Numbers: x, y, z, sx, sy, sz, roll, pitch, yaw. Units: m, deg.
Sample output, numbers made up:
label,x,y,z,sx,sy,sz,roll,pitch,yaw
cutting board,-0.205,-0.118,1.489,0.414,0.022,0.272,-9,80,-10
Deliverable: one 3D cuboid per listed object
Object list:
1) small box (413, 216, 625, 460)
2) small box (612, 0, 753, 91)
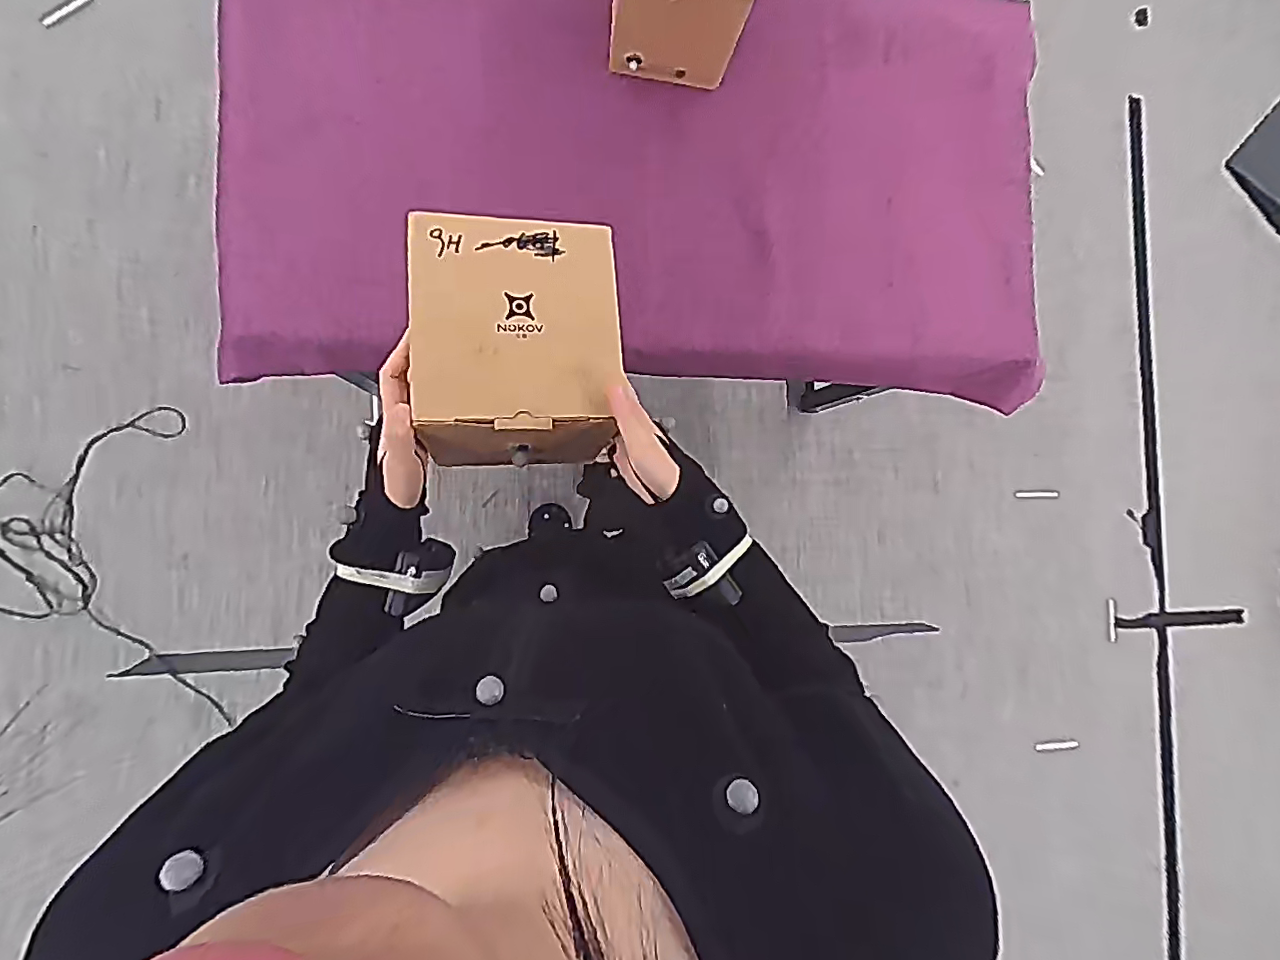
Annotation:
label,x,y,z,sx,sy,sz,roll,pitch,yaw
small box,-0.114,-0.115,0.513,0.168,0.176,0.179,-2,81,-14
small box,0.054,-0.675,0.731,0.168,0.176,0.179,3,88,-10
